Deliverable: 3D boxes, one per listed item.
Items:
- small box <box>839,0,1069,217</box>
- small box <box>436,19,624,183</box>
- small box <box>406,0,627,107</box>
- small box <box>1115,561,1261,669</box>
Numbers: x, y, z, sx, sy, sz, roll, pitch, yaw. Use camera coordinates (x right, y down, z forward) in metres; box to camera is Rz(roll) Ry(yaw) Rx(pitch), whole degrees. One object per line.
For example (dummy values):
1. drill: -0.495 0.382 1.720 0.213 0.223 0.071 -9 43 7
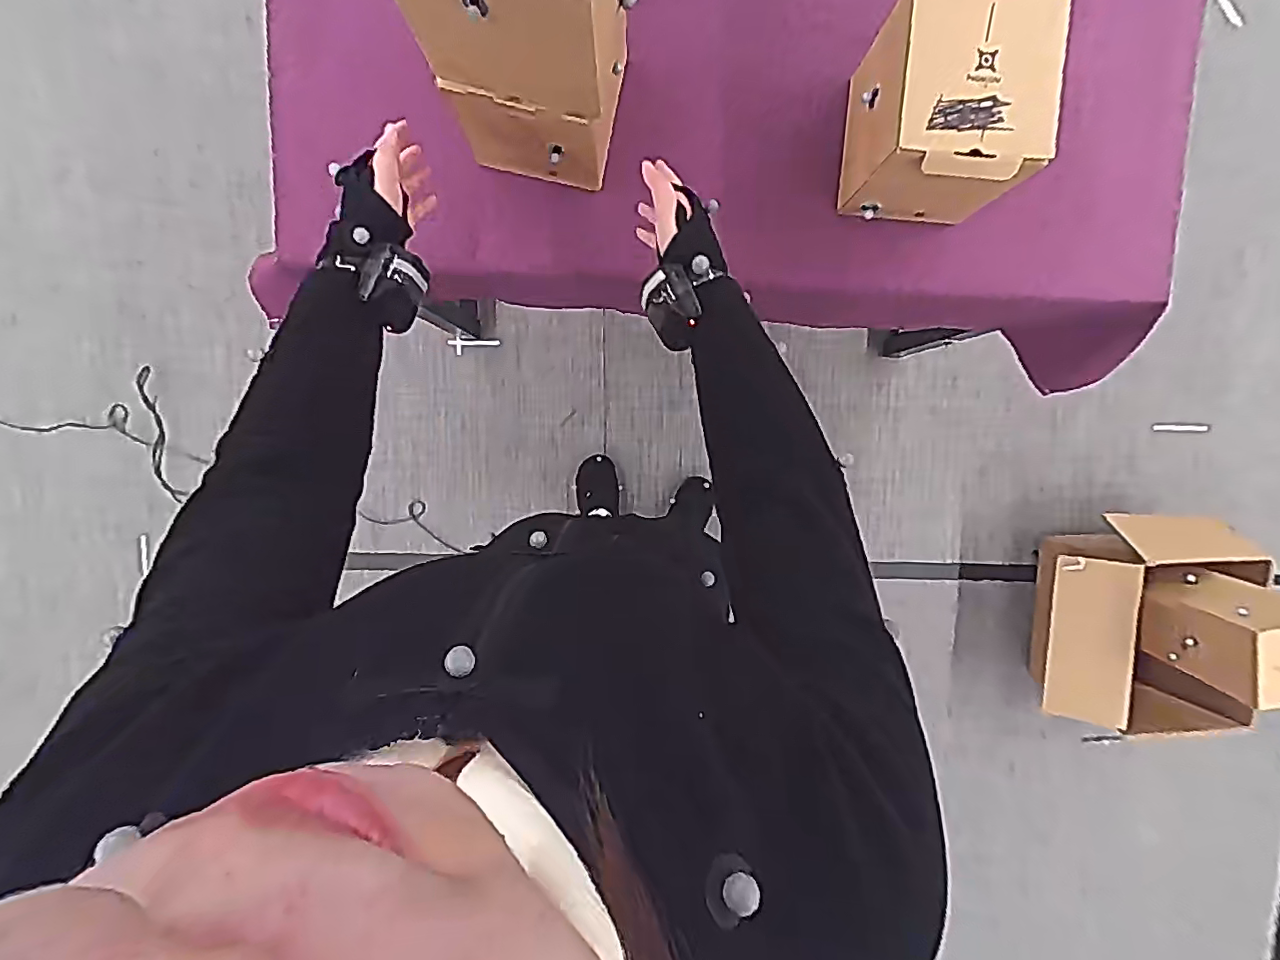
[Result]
1. small box: 0.349 -0.432 0.636 0.168 0.176 0.179 4 94 -1
2. small box: -0.113 -0.478 0.625 0.168 0.176 0.179 12 95 -3
3. small box: -0.104 -0.463 0.462 0.179 0.176 0.168 13 96 -3
4. small box: 1.277 0.307 1.274 0.168 0.176 0.179 -21 99 3
